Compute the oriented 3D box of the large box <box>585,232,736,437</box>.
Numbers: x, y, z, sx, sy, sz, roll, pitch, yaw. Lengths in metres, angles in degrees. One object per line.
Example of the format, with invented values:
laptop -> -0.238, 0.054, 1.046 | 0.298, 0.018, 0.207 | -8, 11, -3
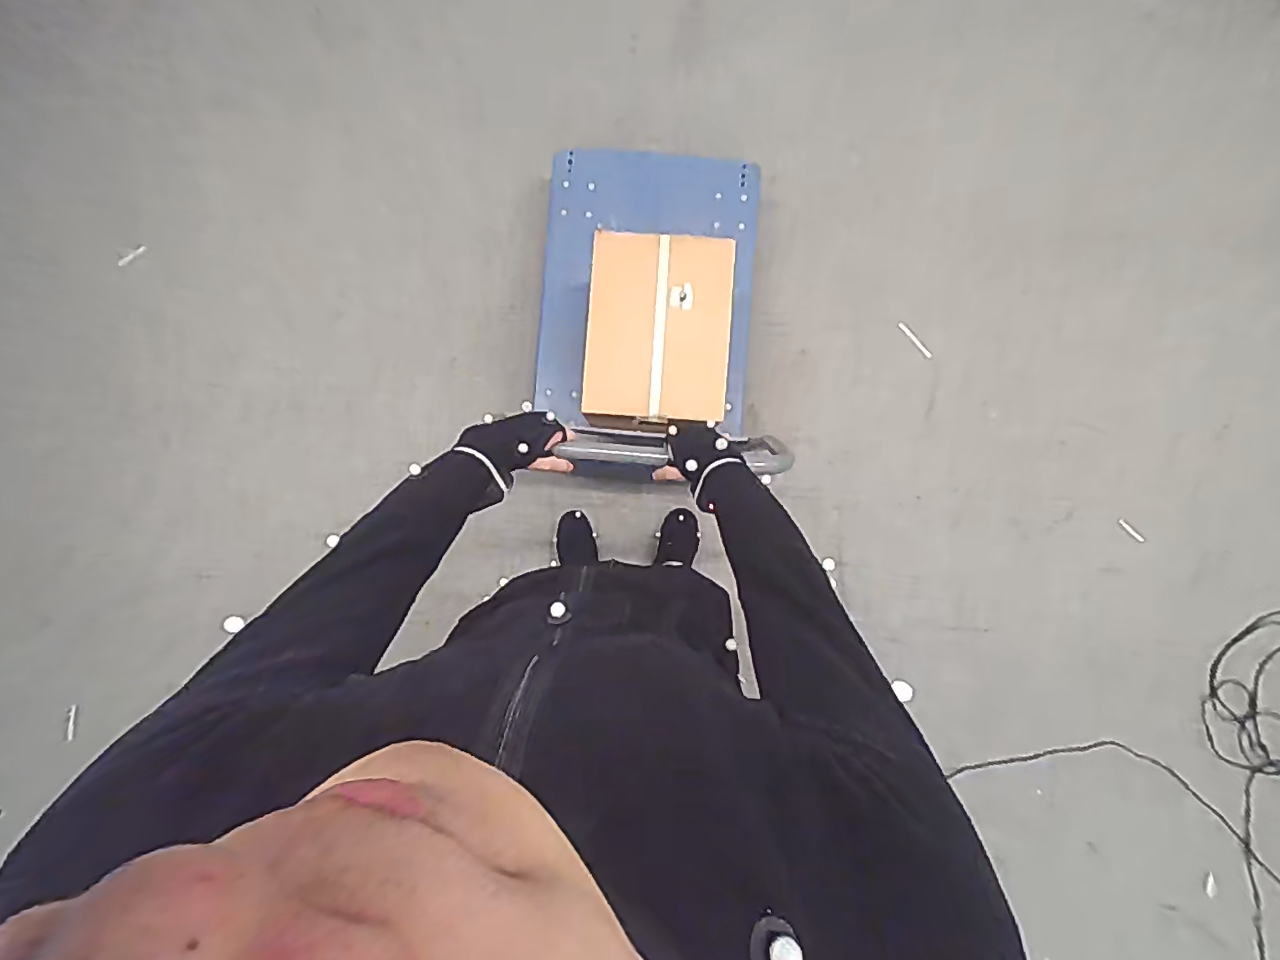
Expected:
large box -> 0.046, -0.324, 1.312 | 0.320, 0.320, 0.408 | 4, 88, -1
